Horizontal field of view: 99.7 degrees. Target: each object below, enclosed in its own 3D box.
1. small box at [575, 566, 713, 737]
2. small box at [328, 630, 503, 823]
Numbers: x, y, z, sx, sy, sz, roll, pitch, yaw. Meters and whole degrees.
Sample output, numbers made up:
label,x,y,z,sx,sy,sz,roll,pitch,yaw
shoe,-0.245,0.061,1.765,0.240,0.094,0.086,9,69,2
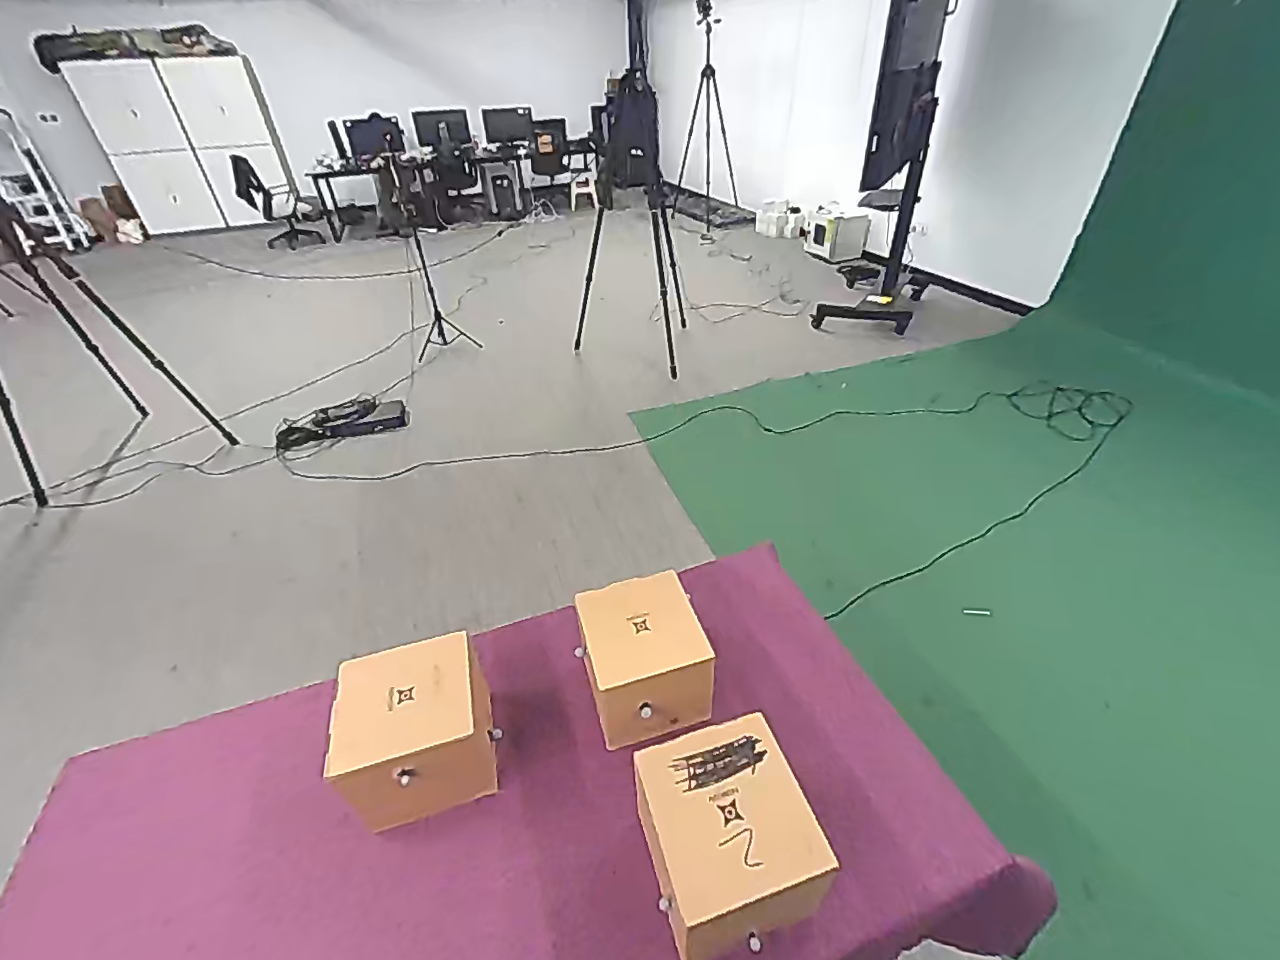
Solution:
label,x,y,z,sx,sy,sz,roll,pitch,yaw
small box,0.007,0.268,0.835,0.168,0.176,0.179,-13,38,-11
small box,-0.304,0.347,0.763,0.179,0.176,0.168,-12,39,-12
